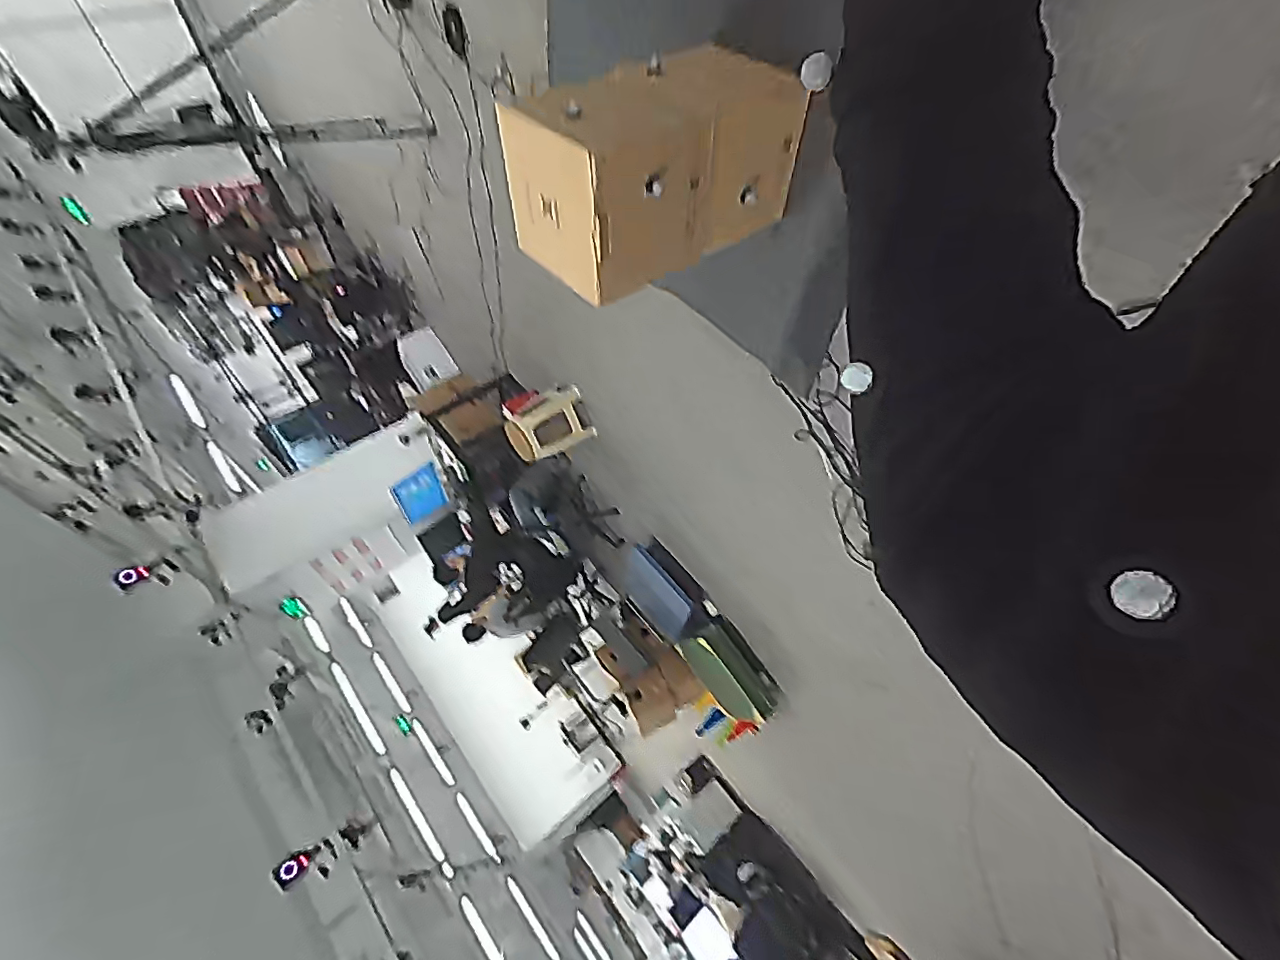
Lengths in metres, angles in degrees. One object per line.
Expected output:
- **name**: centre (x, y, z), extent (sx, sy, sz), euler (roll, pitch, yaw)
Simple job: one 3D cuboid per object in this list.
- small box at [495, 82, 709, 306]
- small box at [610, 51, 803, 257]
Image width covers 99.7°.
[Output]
- **small box**: centre (-0.040, -0.340, 0.634), extent (0.179, 0.176, 0.168), euler (44, 152, 28)
- **small box**: centre (0.082, -0.427, 0.701), extent (0.179, 0.176, 0.168), euler (42, 152, 27)
